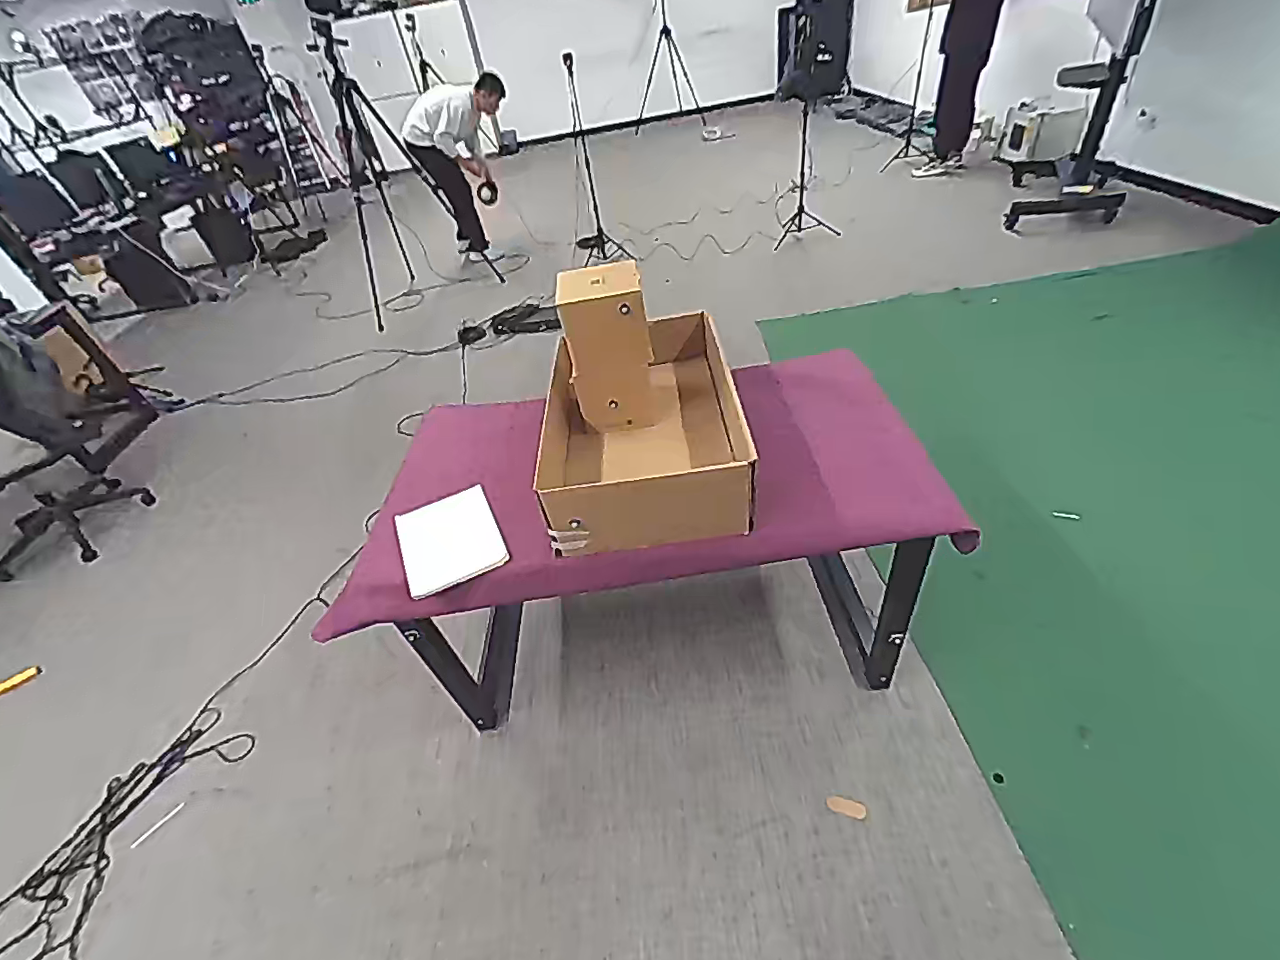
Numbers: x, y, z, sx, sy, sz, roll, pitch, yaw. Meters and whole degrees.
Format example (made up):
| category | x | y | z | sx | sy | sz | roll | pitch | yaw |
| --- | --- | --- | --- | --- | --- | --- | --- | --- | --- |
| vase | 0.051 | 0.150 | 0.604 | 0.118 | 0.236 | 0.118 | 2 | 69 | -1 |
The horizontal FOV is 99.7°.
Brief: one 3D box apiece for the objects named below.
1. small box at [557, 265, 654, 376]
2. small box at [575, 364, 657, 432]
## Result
| category | x | y | z | sx | sy | sz | roll | pitch | yaw |
| --- | --- | --- | --- | --- | --- | --- | --- | --- | --- |
| small box | -0.072 | -0.343 | 1.176 | 0.179 | 0.176 | 0.168 | -9 | 42 | 2 |
| small box | -0.053 | -0.226 | 1.286 | 0.168 | 0.176 | 0.179 | -8 | 43 | 4 |
